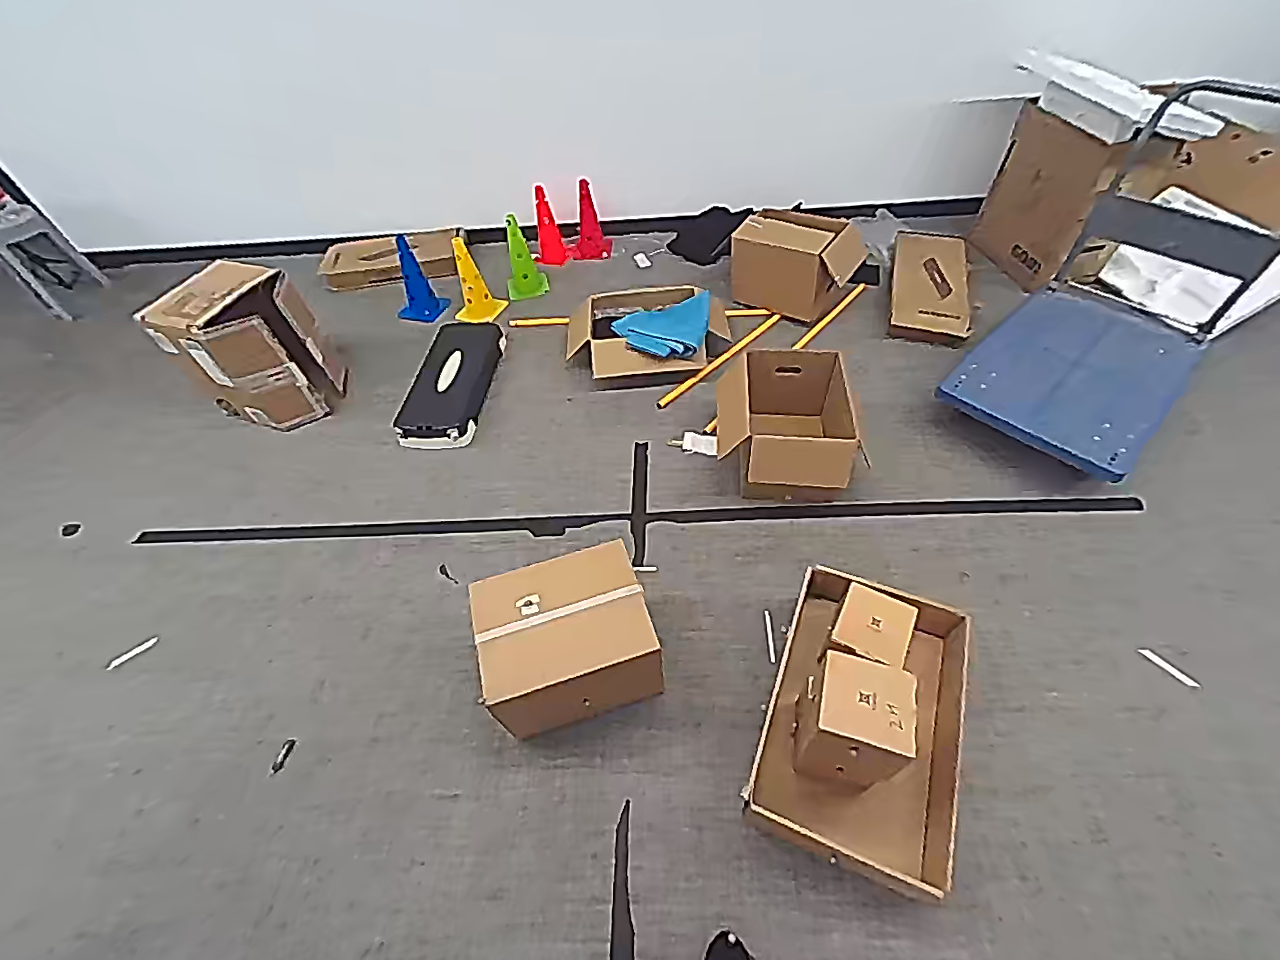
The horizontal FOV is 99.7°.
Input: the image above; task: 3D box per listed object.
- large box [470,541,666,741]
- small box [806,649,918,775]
[{"bbox_3d":[-0.174,0.416,1.389,0.408,0.320,0.320,-17,51,-8],"label":"large box"},{"bbox_3d":[0.446,0.475,1.101,0.179,0.176,0.168,13,52,14],"label":"small box"}]
